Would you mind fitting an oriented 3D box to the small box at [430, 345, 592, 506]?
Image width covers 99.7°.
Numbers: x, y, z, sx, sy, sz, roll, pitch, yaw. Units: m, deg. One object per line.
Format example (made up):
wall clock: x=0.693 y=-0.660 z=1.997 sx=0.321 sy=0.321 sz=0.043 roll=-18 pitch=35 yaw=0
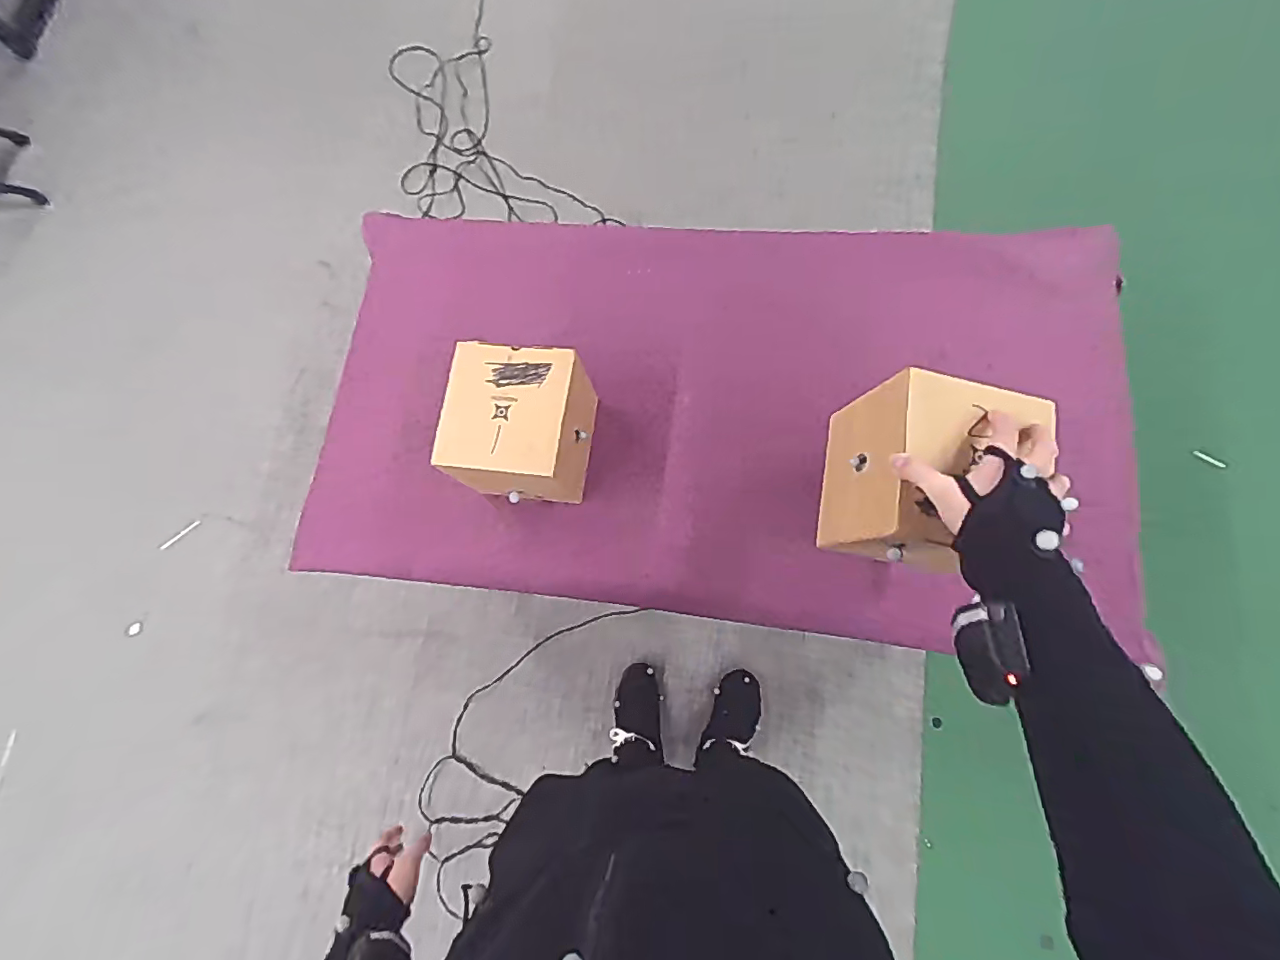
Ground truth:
small box: x=-0.170 y=-0.071 z=0.779 sx=0.168 sy=0.176 sz=0.179 roll=6 pitch=77 yaw=8
